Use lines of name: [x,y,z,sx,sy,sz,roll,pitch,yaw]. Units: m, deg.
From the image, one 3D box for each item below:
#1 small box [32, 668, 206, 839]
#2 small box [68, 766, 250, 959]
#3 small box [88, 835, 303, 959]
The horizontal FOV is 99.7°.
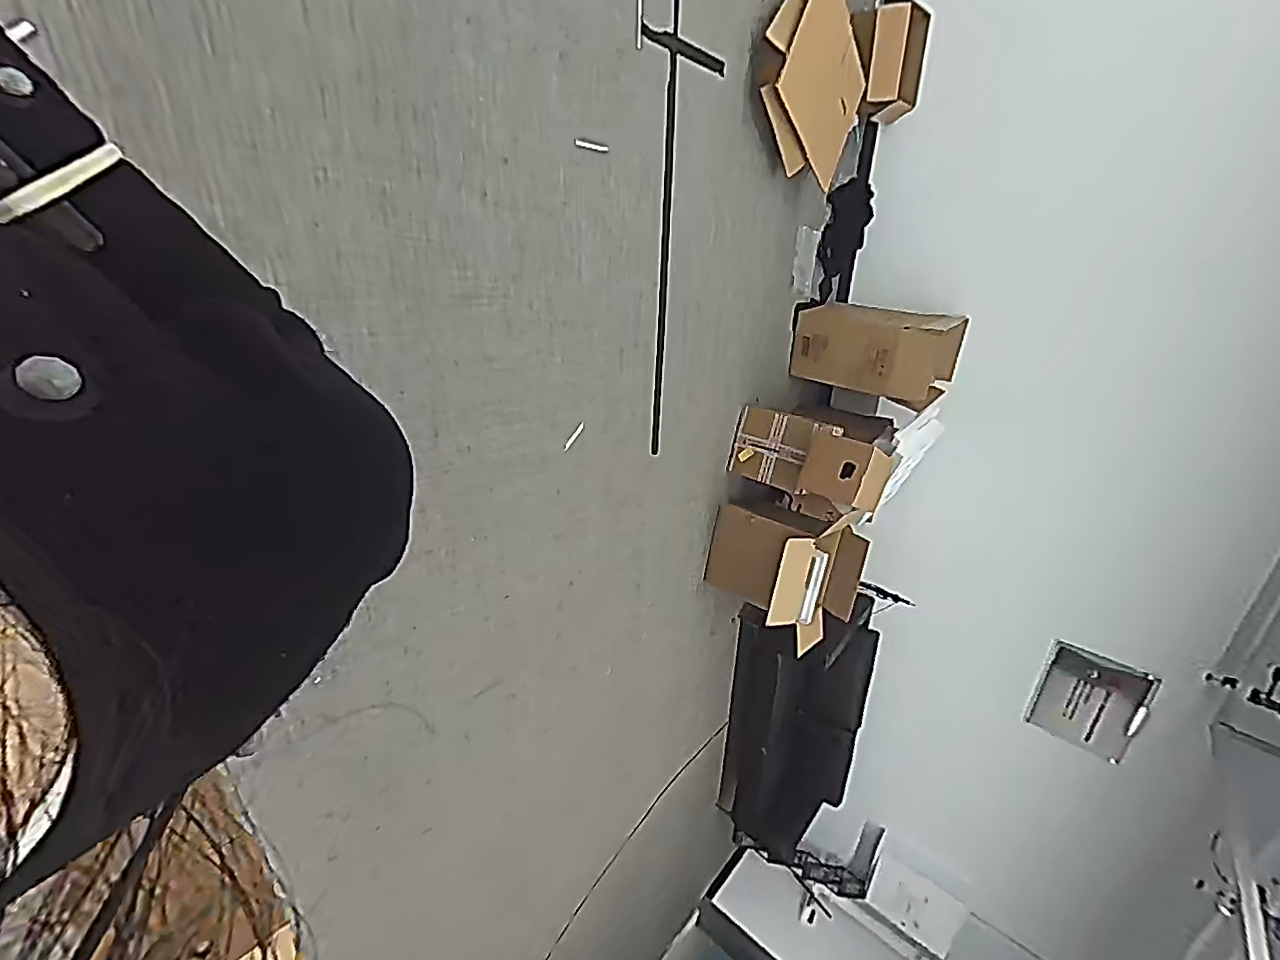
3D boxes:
small box: [-0.923,0.470,0.963,0.179,0.176,0.168,-23,123,-44]
small box: [-0.672,0.562,0.771,0.179,0.176,0.168,-19,121,-47]
small box: [-0.549,0.607,0.676,0.179,0.176,0.168,-19,120,-47]
